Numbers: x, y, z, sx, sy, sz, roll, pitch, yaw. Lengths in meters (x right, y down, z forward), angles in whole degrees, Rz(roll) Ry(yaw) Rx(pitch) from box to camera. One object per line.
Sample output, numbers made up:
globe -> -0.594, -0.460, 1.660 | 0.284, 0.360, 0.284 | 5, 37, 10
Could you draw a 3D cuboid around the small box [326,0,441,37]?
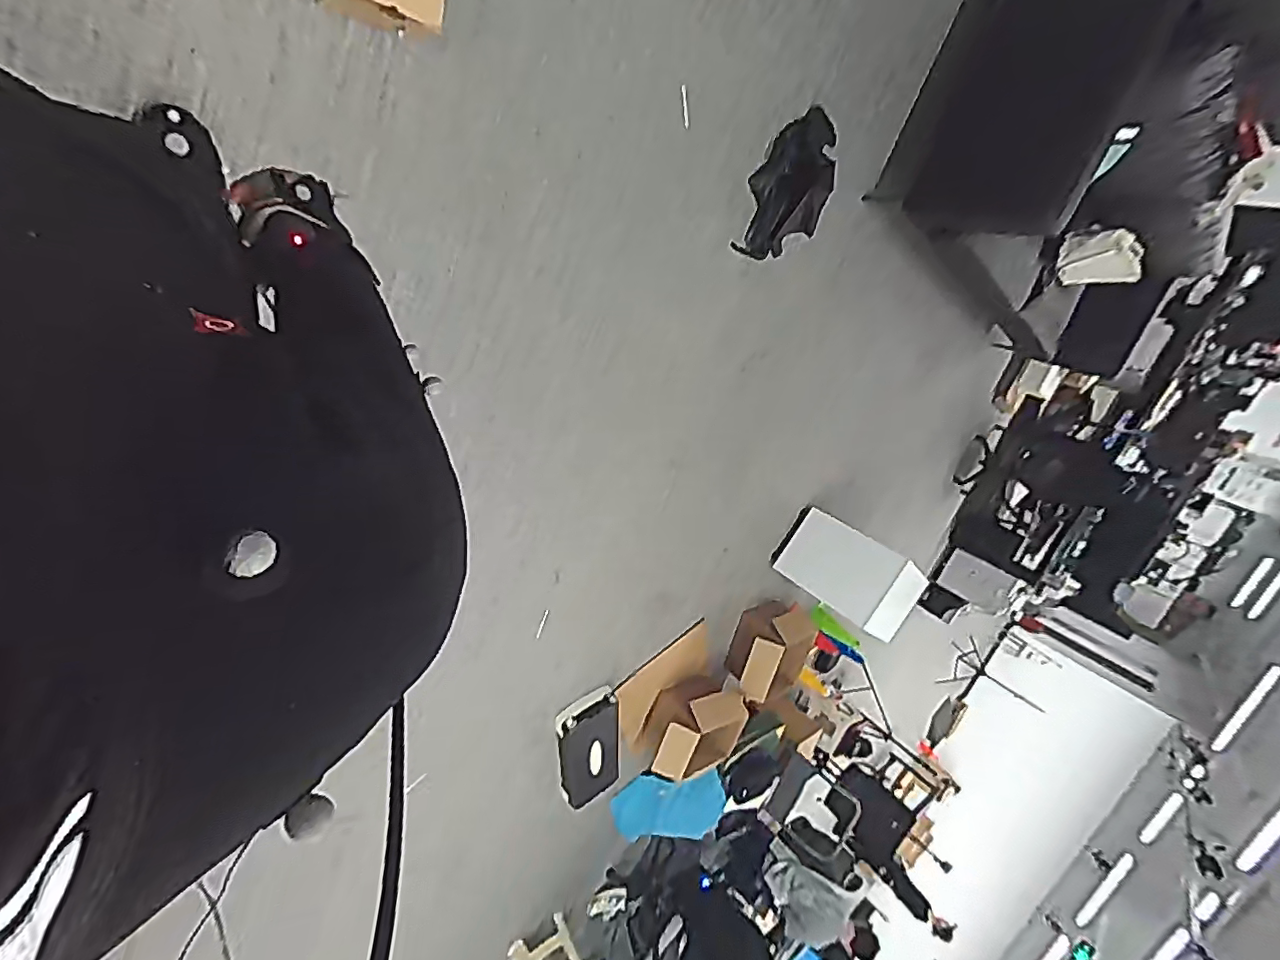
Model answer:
small box -> -0.449, -0.898, 0.924 | 0.168, 0.176, 0.179 | -8, 120, -42
